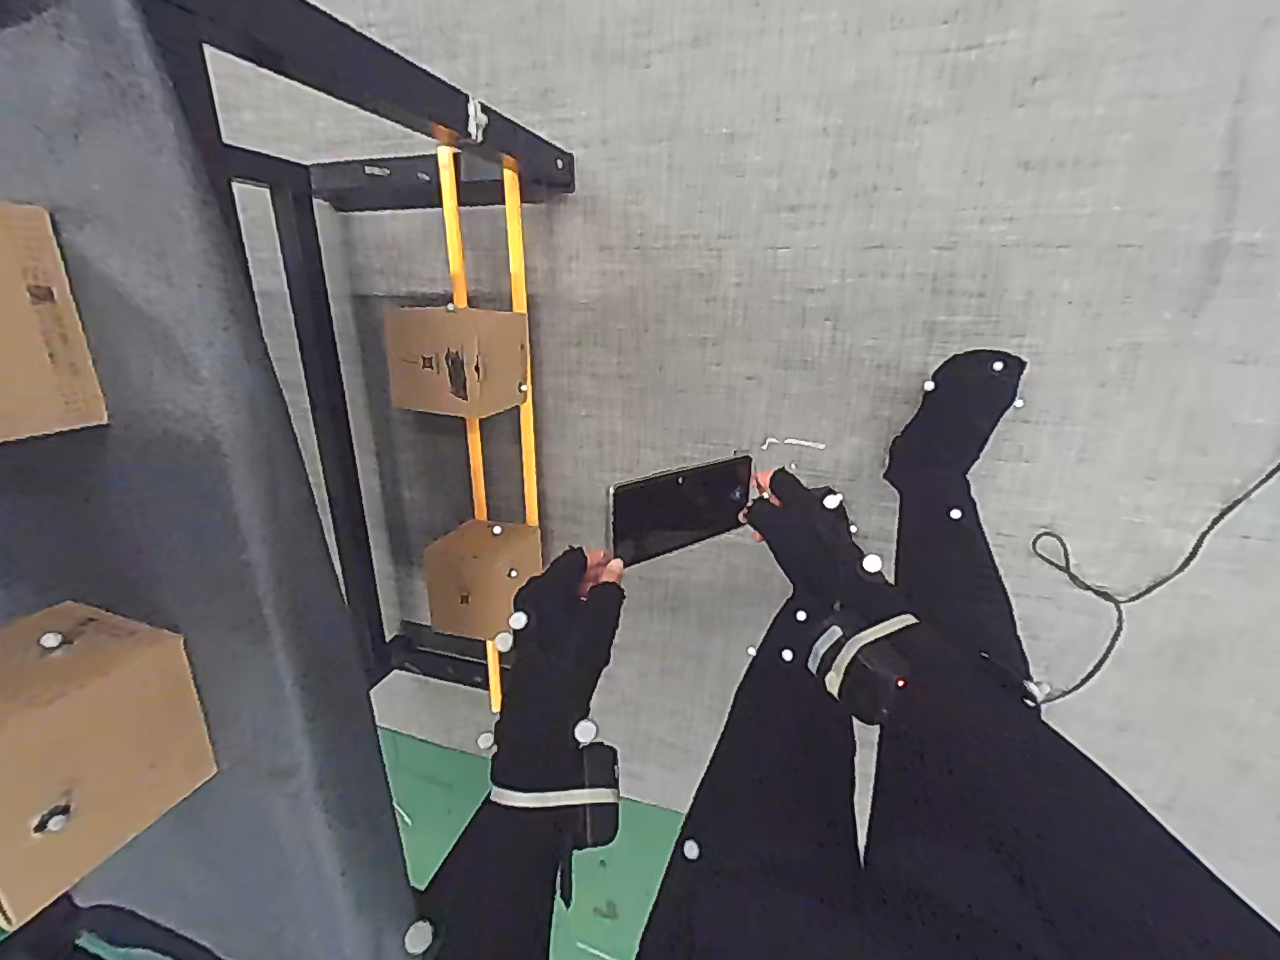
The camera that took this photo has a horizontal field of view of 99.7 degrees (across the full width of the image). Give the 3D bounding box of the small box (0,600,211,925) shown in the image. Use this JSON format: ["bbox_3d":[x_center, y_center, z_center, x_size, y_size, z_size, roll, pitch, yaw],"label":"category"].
[{"bbox_3d":[-0.544,0.240,0.499,0.168,0.176,0.179,9,110,15],"label":"small box"}]

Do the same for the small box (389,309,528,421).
[{"bbox_3d":[-0.311,-0.212,0.961,0.179,0.176,0.168,9,110,15],"label":"small box"}]
